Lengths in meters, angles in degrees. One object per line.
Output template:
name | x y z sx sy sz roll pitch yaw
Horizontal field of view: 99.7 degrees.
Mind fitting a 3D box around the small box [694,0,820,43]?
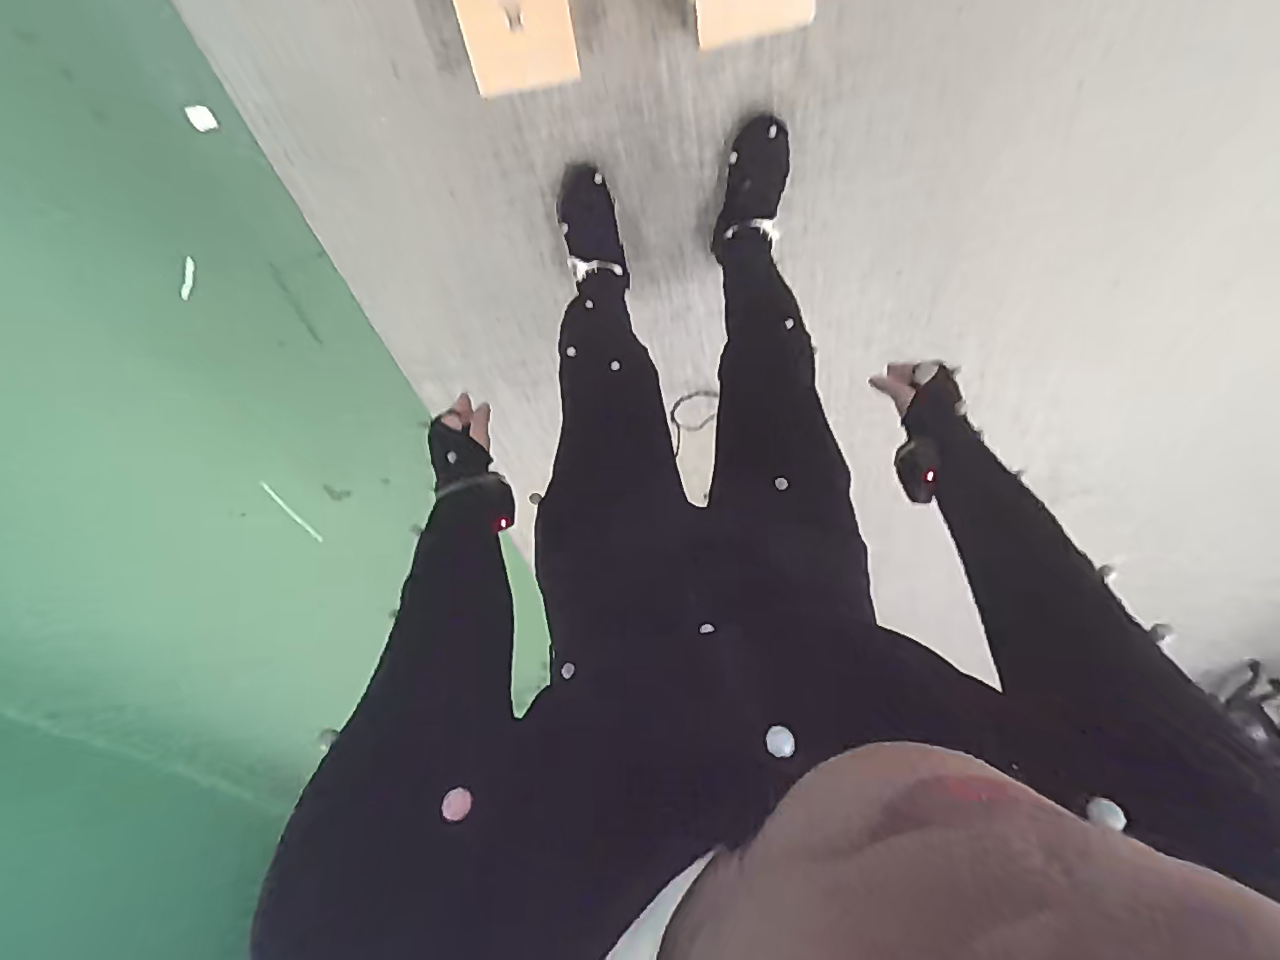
small box | 0.165 -0.785 0.807 0.179 0.176 0.168 -8 136 8

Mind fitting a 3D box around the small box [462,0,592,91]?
small box | -0.174 -0.745 0.849 0.168 0.176 0.179 -6 135 6
